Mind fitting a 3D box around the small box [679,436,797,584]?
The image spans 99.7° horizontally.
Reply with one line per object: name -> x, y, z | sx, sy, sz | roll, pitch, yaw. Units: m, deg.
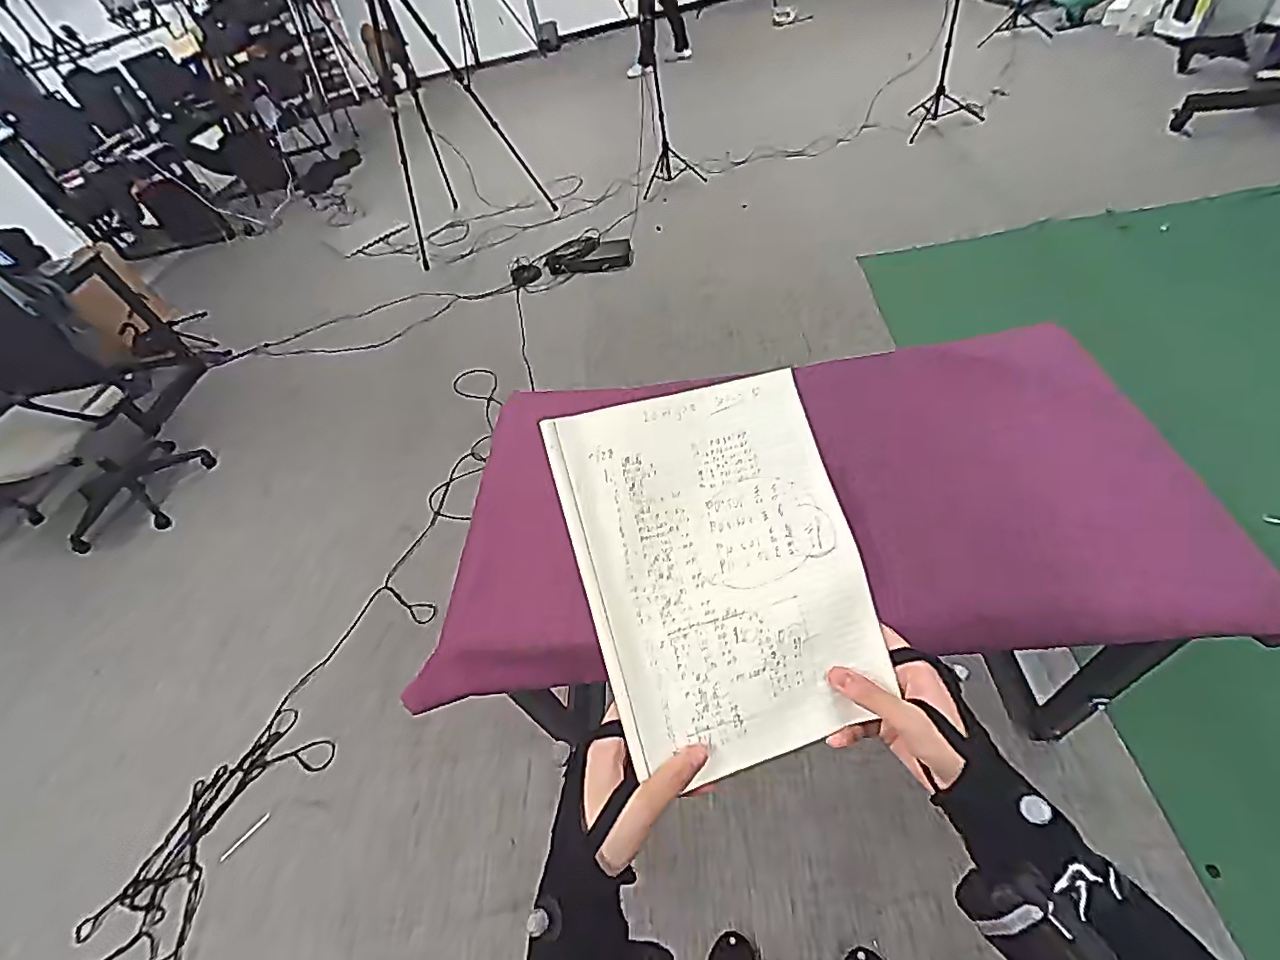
small box -> 0.156, 0.056, 0.870 | 0.168, 0.176, 0.179 | -6, 49, 8
